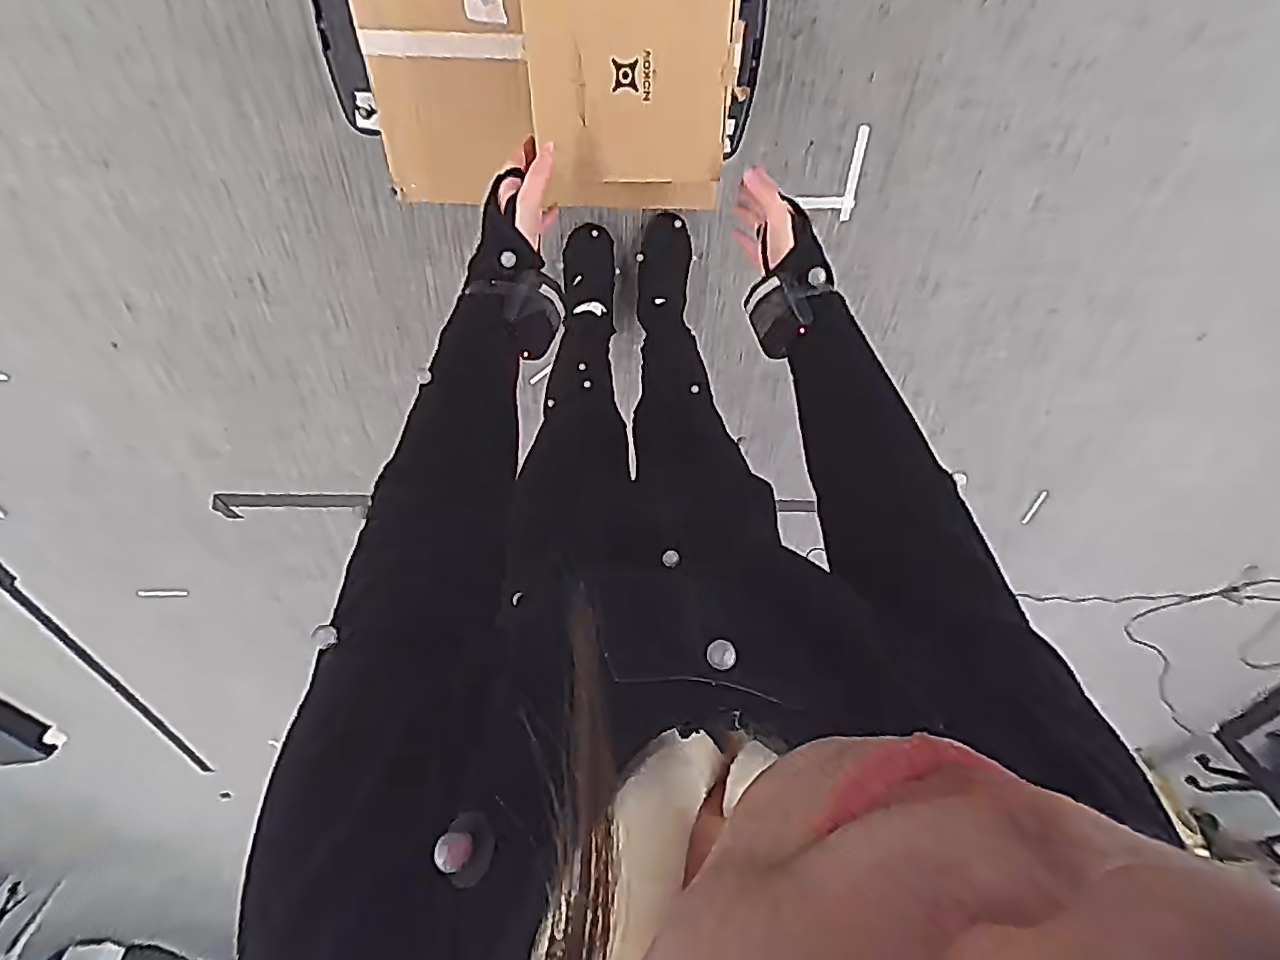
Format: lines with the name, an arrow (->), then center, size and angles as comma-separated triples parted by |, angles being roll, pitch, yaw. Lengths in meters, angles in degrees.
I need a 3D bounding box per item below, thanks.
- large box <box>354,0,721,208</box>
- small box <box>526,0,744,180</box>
large box -> -0.099, -0.559, 0.696 | 0.408, 0.320, 0.320 | 0, 129, -3
small box -> -0.009, -0.397, 0.516 | 0.179, 0.176, 0.168 | -1, 130, -2
